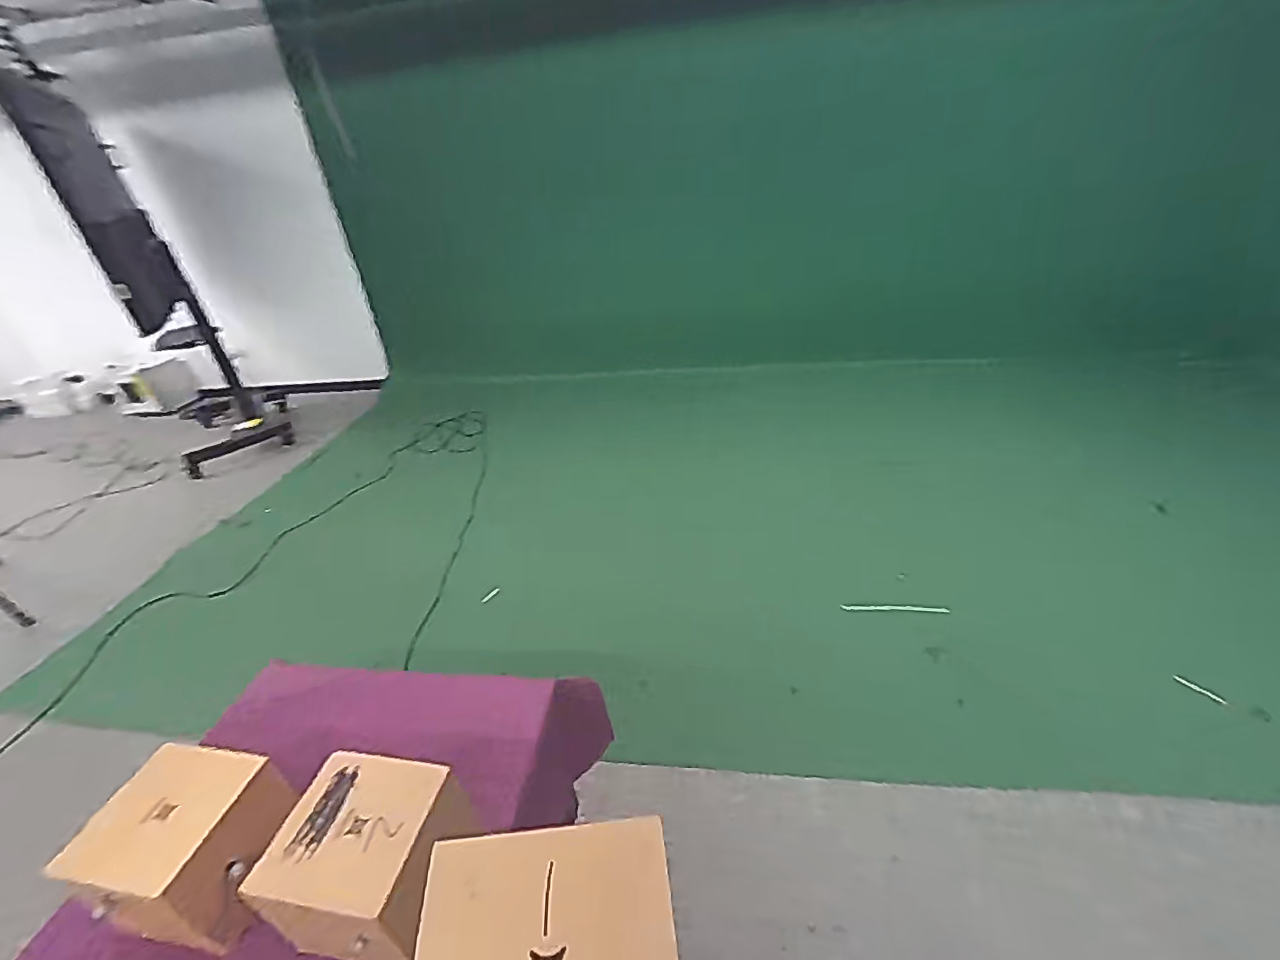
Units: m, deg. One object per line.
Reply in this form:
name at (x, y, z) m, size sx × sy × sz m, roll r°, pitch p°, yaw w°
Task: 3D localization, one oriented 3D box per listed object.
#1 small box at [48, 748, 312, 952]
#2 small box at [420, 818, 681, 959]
small box at (-0.591, 0.493, 0.726) m, size 0.179 × 0.176 × 0.168 m, roll 0°, pitch 32°, yaw 13°
small box at (-0.052, 0.368, 0.378) m, size 0.168 × 0.176 × 0.179 m, roll -4°, pitch 41°, yaw -3°
